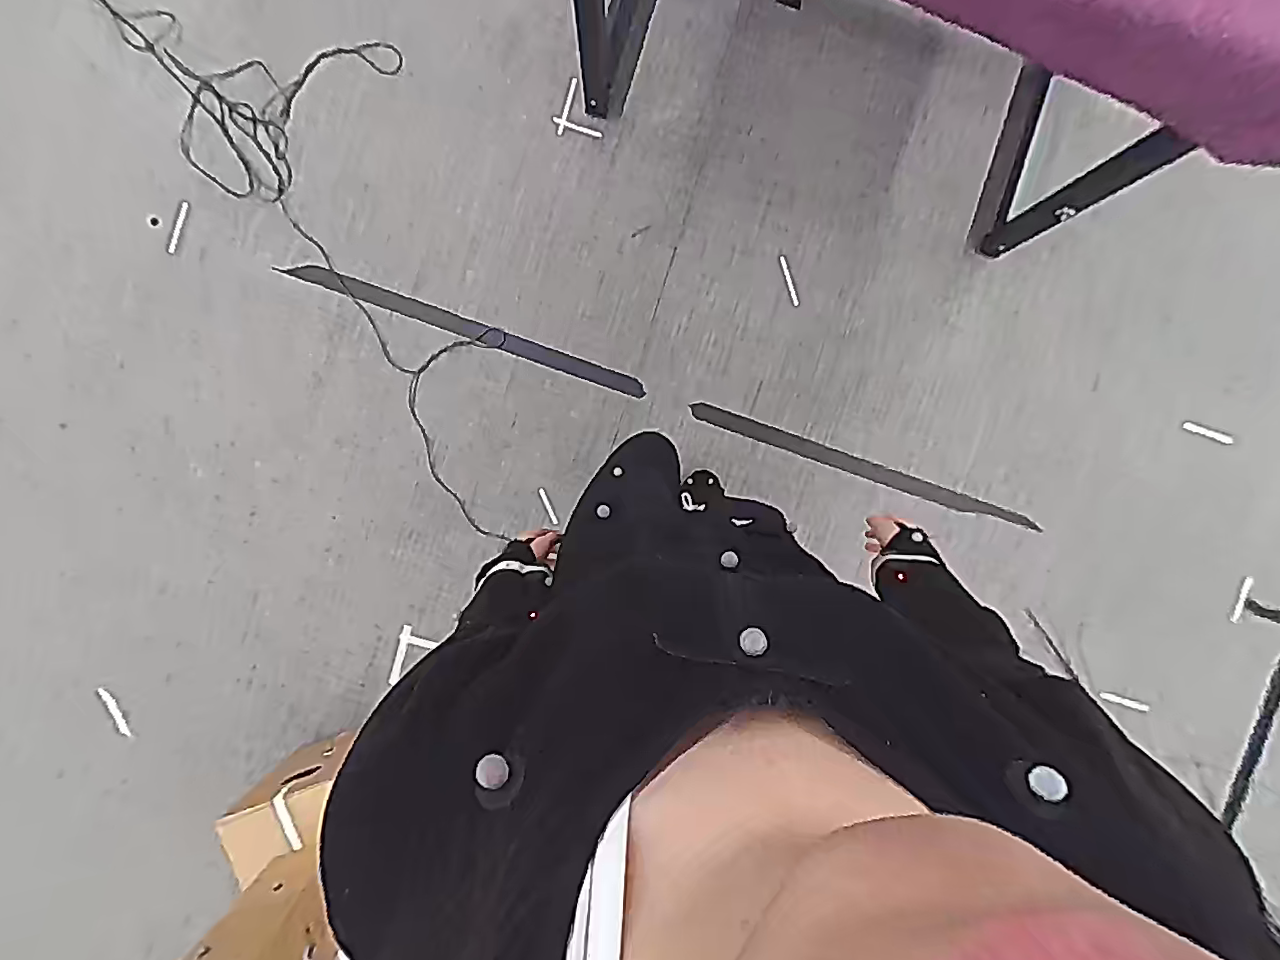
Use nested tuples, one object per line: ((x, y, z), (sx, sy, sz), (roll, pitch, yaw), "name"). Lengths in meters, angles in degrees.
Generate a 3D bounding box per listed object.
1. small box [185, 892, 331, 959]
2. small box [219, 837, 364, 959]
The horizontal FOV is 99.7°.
((-0.699, 0.895, 0.964), (0.179, 0.176, 0.168), (-18, 94, -2), "small box")
((-0.708, 0.891, 1.126), (0.179, 0.176, 0.168), (-20, 93, 0), "small box")
